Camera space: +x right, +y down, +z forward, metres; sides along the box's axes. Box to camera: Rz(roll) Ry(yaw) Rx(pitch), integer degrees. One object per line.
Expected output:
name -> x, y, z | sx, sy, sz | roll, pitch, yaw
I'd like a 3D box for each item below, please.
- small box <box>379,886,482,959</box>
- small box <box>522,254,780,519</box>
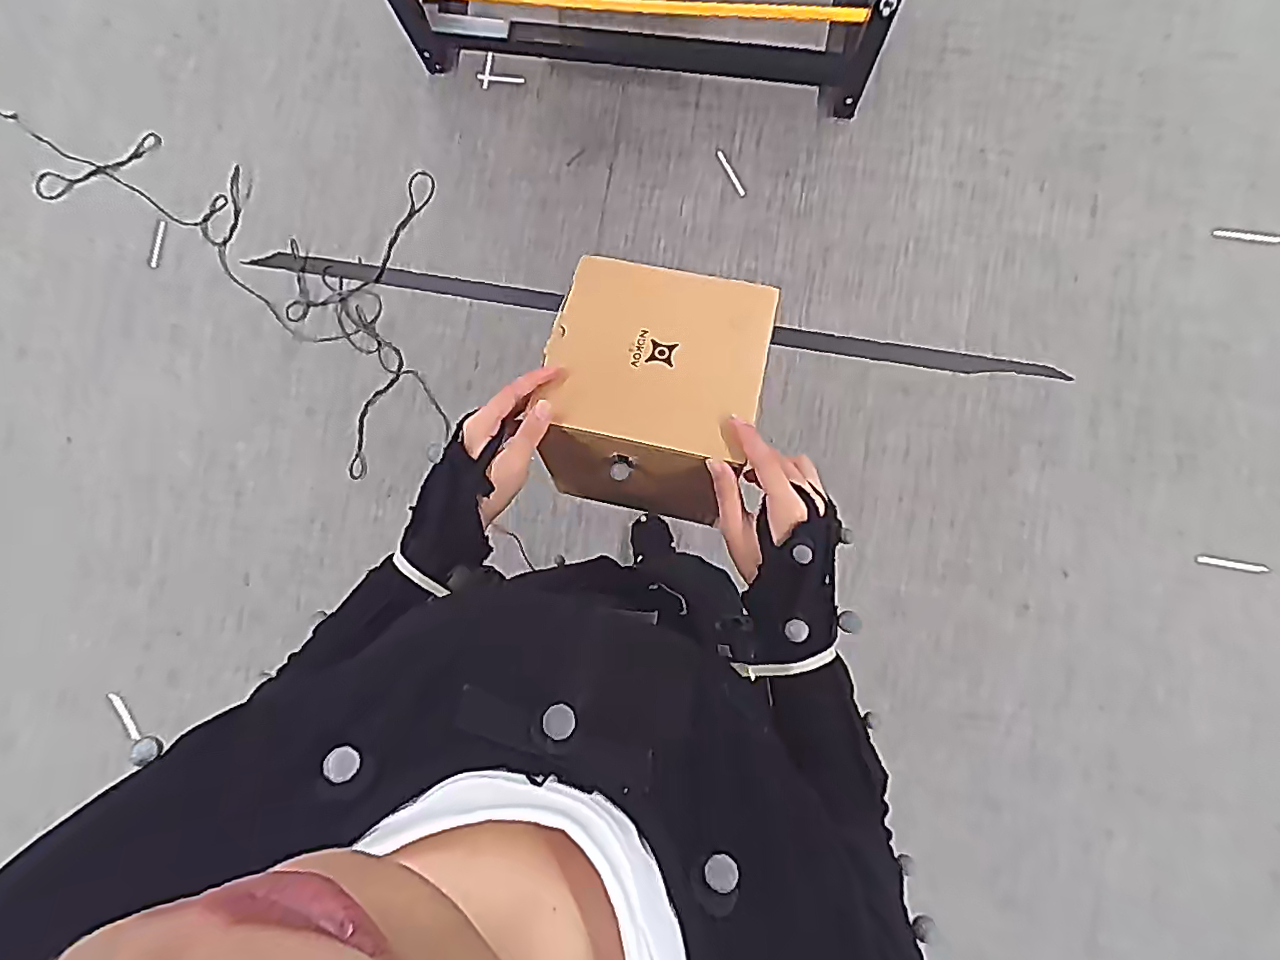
small box -> -0.465, 1.048, 1.187 | 0.168, 0.176, 0.179 | 13, 87, 5
small box -> 0.015, -0.073, 0.501 | 0.179, 0.176, 0.168 | 12, 70, 7
